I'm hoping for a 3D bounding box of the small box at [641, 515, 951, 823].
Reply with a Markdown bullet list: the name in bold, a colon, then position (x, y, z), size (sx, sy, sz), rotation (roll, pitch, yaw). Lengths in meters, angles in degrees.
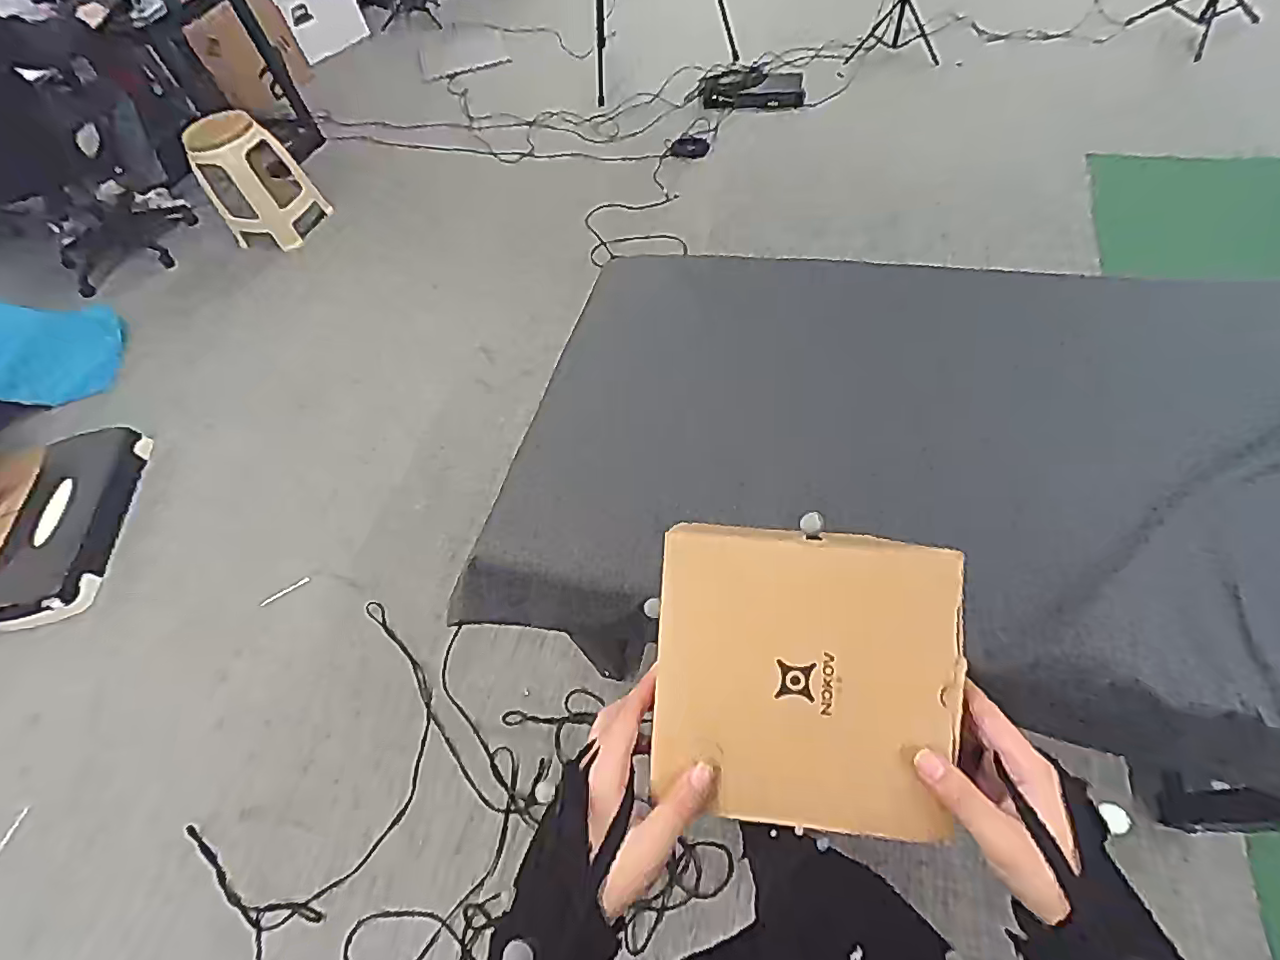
- **small box**: position (0.100, 0.115, 0.400), size (0.179, 0.176, 0.168), rotation (3, 86, 6)
